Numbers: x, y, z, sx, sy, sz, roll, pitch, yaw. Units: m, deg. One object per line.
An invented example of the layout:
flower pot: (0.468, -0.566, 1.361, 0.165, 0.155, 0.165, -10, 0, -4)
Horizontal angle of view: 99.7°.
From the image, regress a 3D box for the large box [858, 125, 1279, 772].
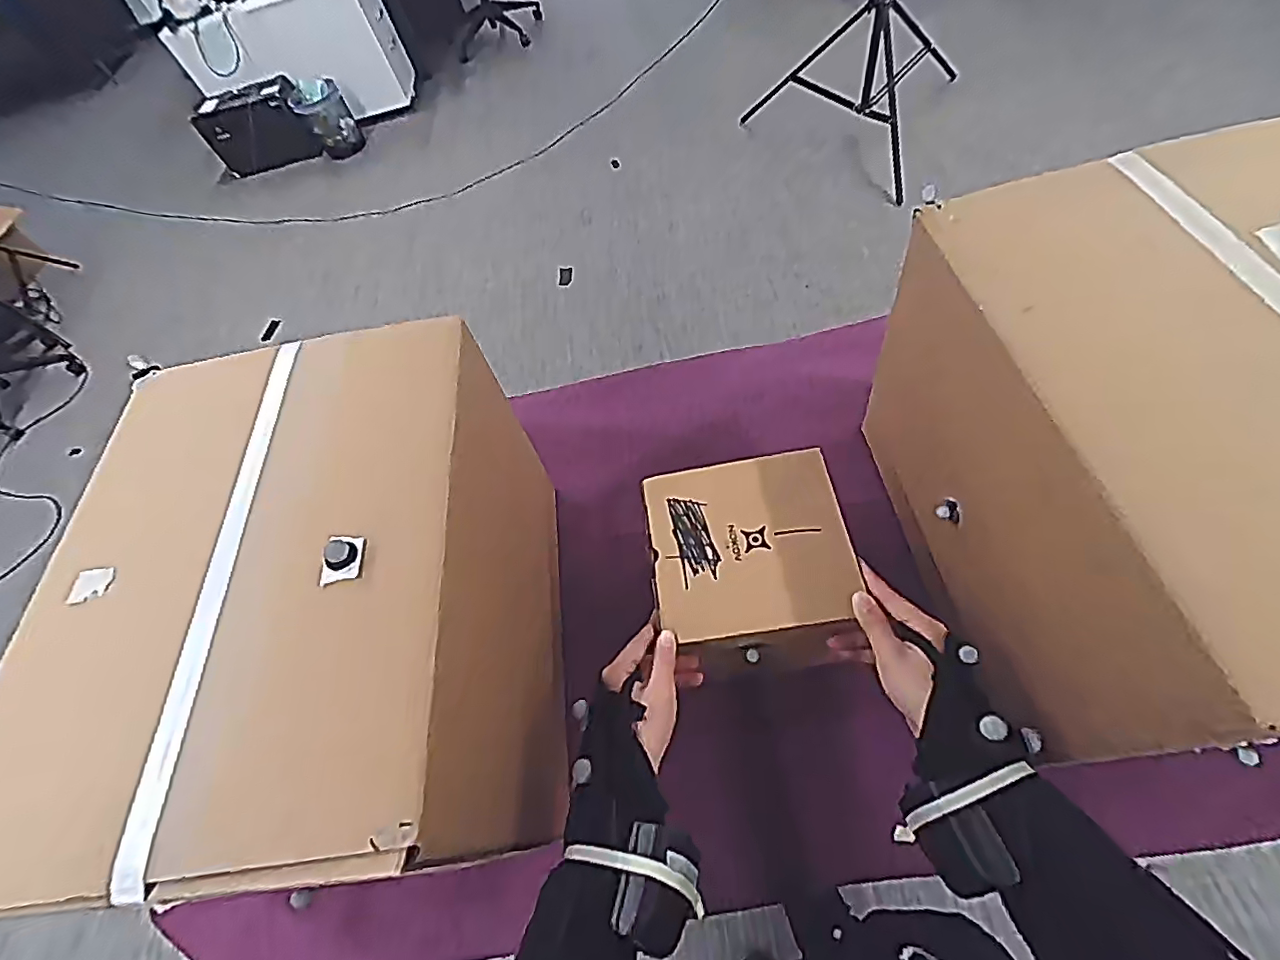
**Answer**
large box: (0.423, -0.011, 0.457, 0.320, 0.320, 0.408, -11, 57, 4)
